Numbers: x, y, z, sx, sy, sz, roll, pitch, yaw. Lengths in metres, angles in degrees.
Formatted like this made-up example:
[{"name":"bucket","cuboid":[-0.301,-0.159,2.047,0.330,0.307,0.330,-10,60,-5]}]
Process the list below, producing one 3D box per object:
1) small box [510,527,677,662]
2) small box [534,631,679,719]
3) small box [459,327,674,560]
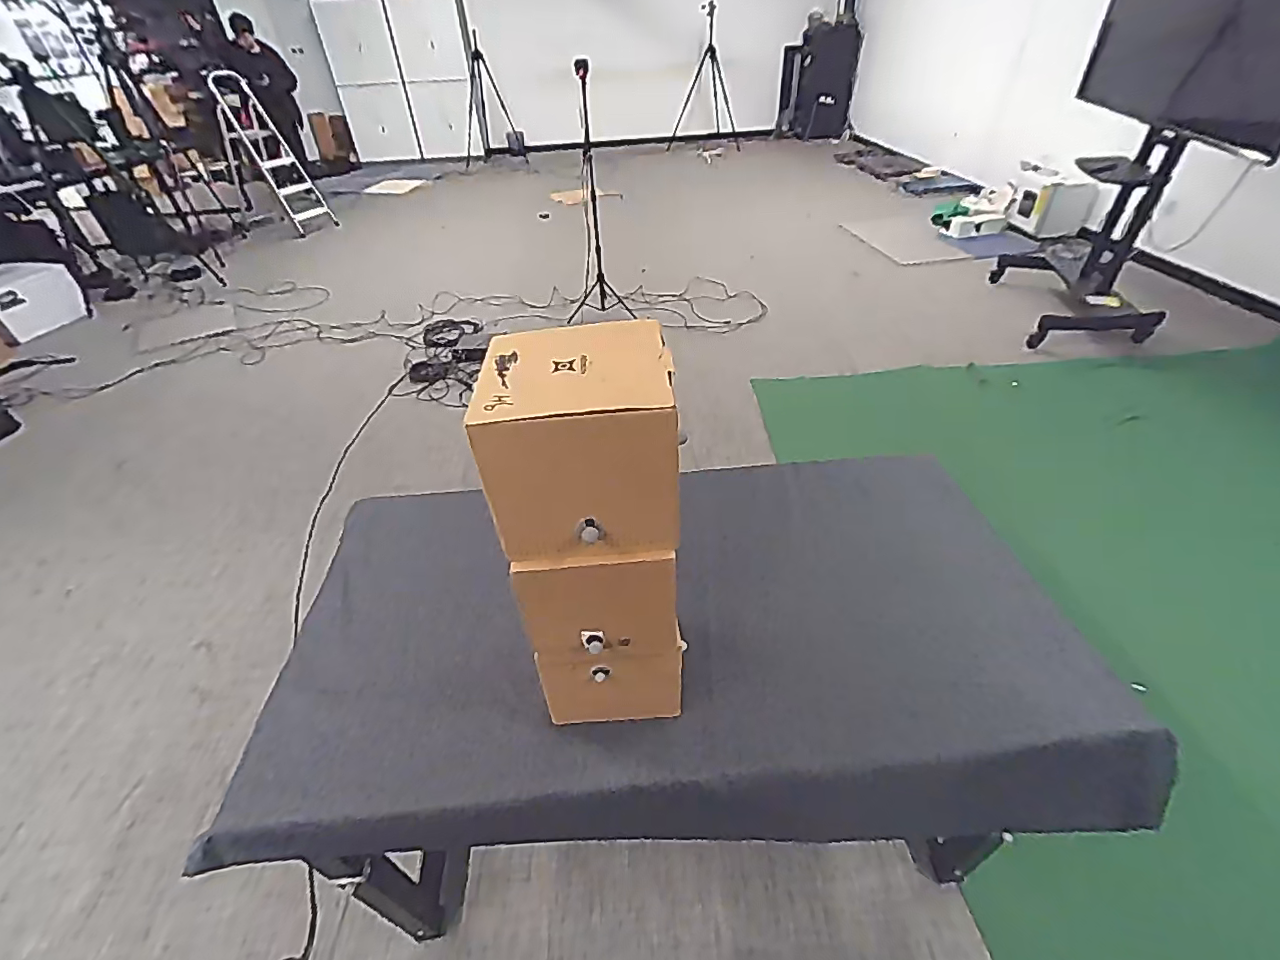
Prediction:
[{"name":"small box","cuboid":[-0.047,0.092,0.648,0.168,0.176,0.179,-6,41,0]},{"name":"small box","cuboid":[-0.038,0.215,0.752,0.179,0.176,0.168,-3,40,0]},{"name":"small box","cuboid":[-0.059,-0.036,0.547,0.179,0.176,0.168,-4,39,1]}]
